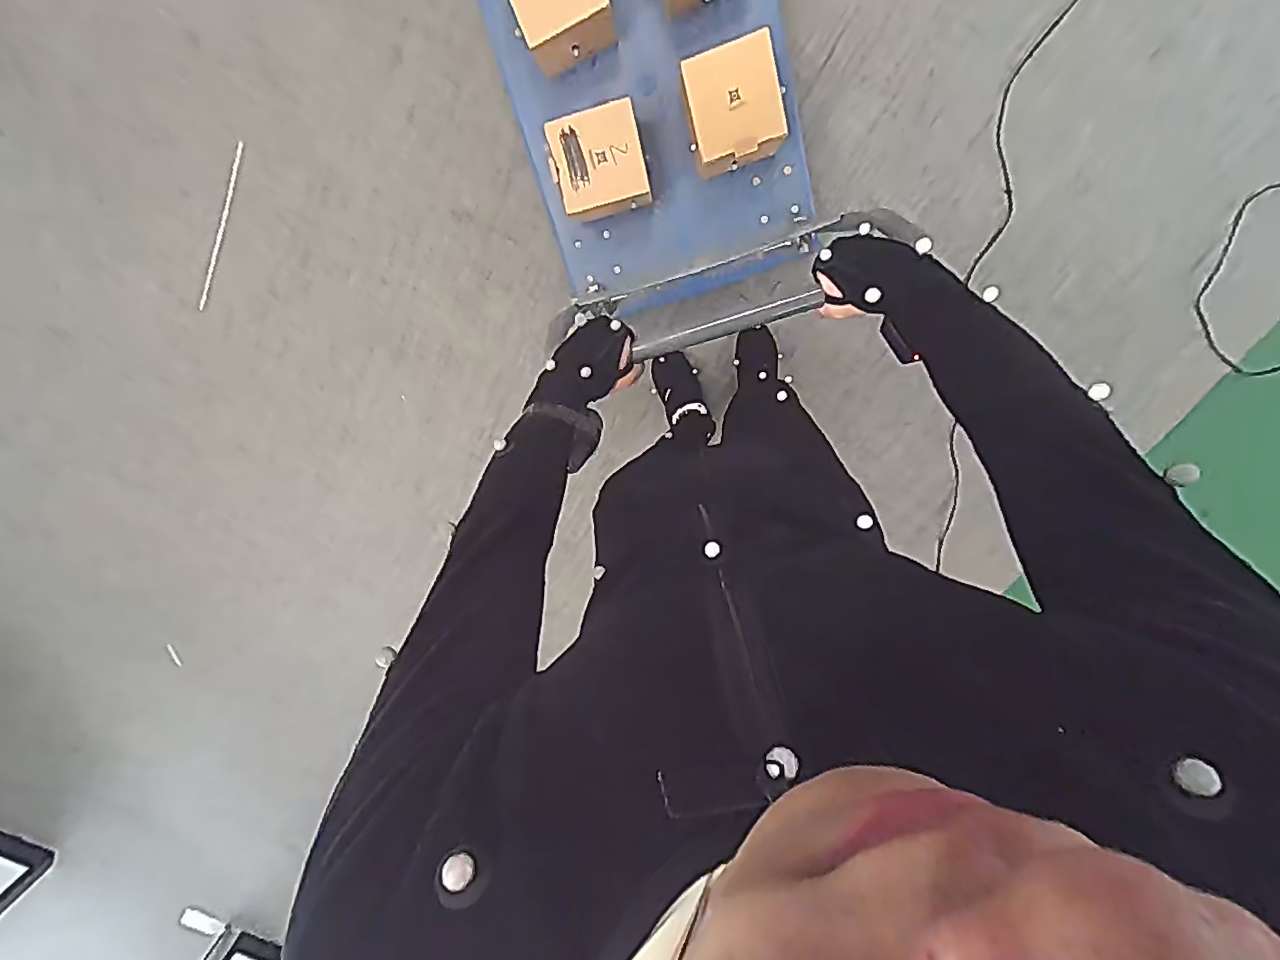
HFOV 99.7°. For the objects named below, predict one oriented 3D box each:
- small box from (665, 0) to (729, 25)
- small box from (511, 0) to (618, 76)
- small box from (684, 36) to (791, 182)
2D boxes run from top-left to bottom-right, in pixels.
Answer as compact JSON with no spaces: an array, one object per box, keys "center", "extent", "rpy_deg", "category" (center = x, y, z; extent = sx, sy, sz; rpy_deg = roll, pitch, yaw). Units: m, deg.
[{"center":[0.105,-0.994,0.983],"extent":[0.168,0.176,0.179],"rpy_deg":[-20,108,11],"category":"small box"},{"center":[-0.149,-0.911,1.030],"extent":[0.168,0.176,0.179],"rpy_deg":[-20,108,10],"category":"small box"},{"center":[0.188,-0.724,1.079],"extent":[0.168,0.176,0.179],"rpy_deg":[-15,109,9],"category":"small box"}]
